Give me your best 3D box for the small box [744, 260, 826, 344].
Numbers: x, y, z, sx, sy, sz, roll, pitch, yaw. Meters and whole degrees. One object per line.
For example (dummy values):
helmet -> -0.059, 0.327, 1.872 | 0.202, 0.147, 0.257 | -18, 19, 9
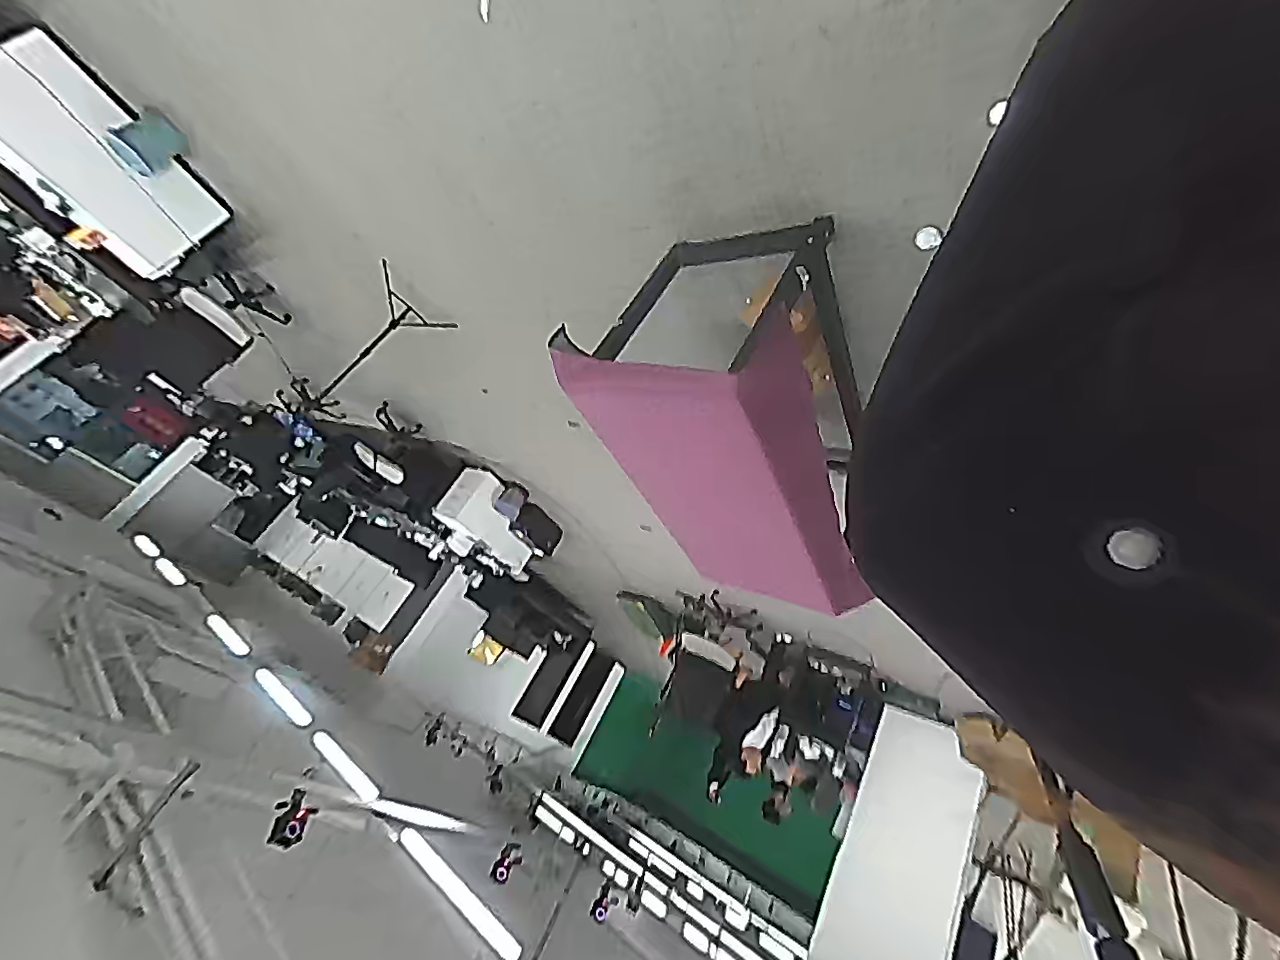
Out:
small box -> 0.490, -0.595, 1.814 | 0.168, 0.176, 0.179 | 38, 156, -17
